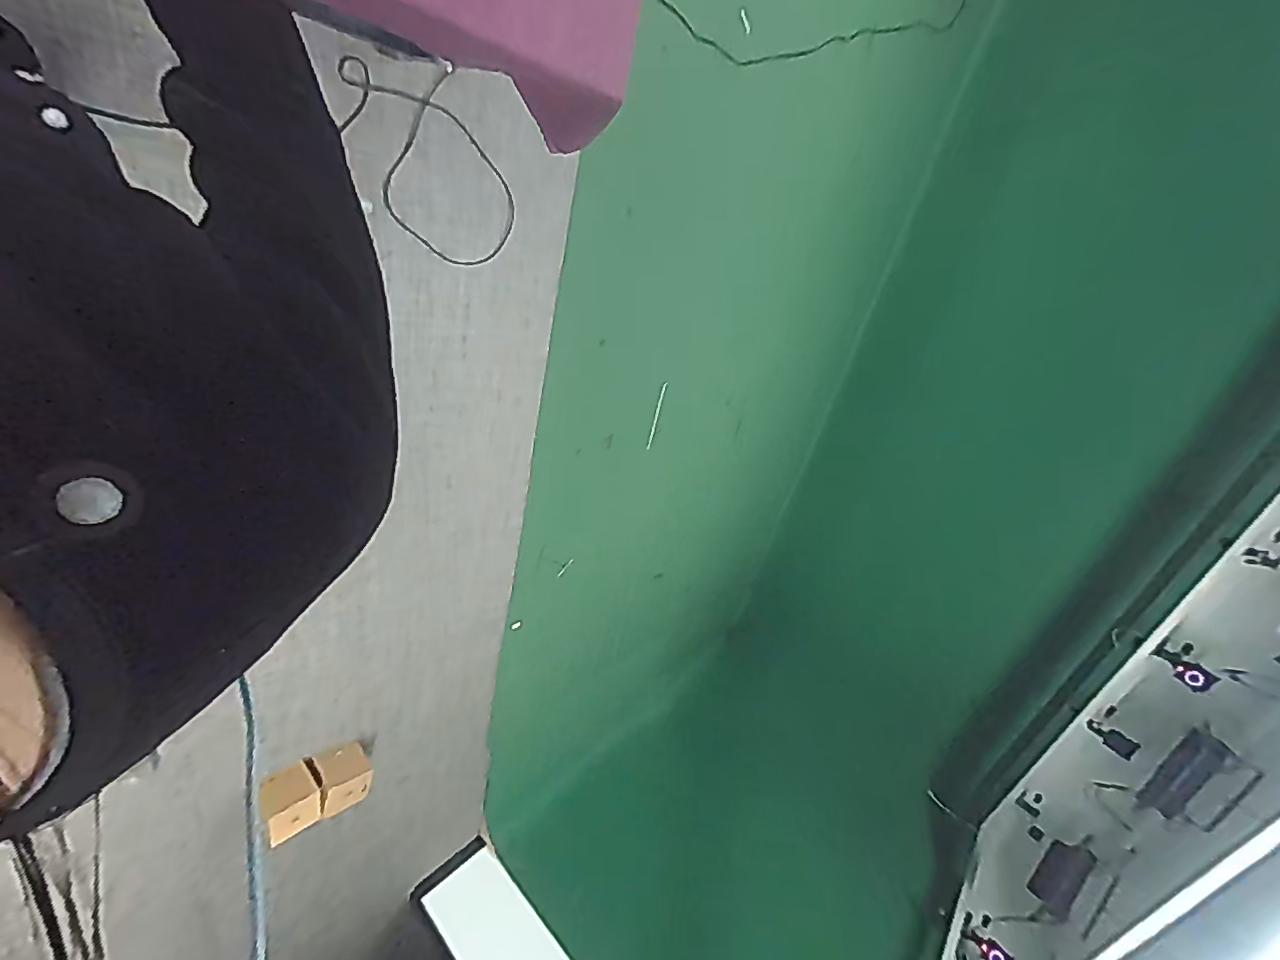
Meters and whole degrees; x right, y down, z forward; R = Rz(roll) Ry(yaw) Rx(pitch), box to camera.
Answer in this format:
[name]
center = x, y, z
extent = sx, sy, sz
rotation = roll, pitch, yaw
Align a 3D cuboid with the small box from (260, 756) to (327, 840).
[small box]
center = -1.293, 1.181, 2.020
extent = 0.168, 0.176, 0.179
rotation = -17, 130, -47
